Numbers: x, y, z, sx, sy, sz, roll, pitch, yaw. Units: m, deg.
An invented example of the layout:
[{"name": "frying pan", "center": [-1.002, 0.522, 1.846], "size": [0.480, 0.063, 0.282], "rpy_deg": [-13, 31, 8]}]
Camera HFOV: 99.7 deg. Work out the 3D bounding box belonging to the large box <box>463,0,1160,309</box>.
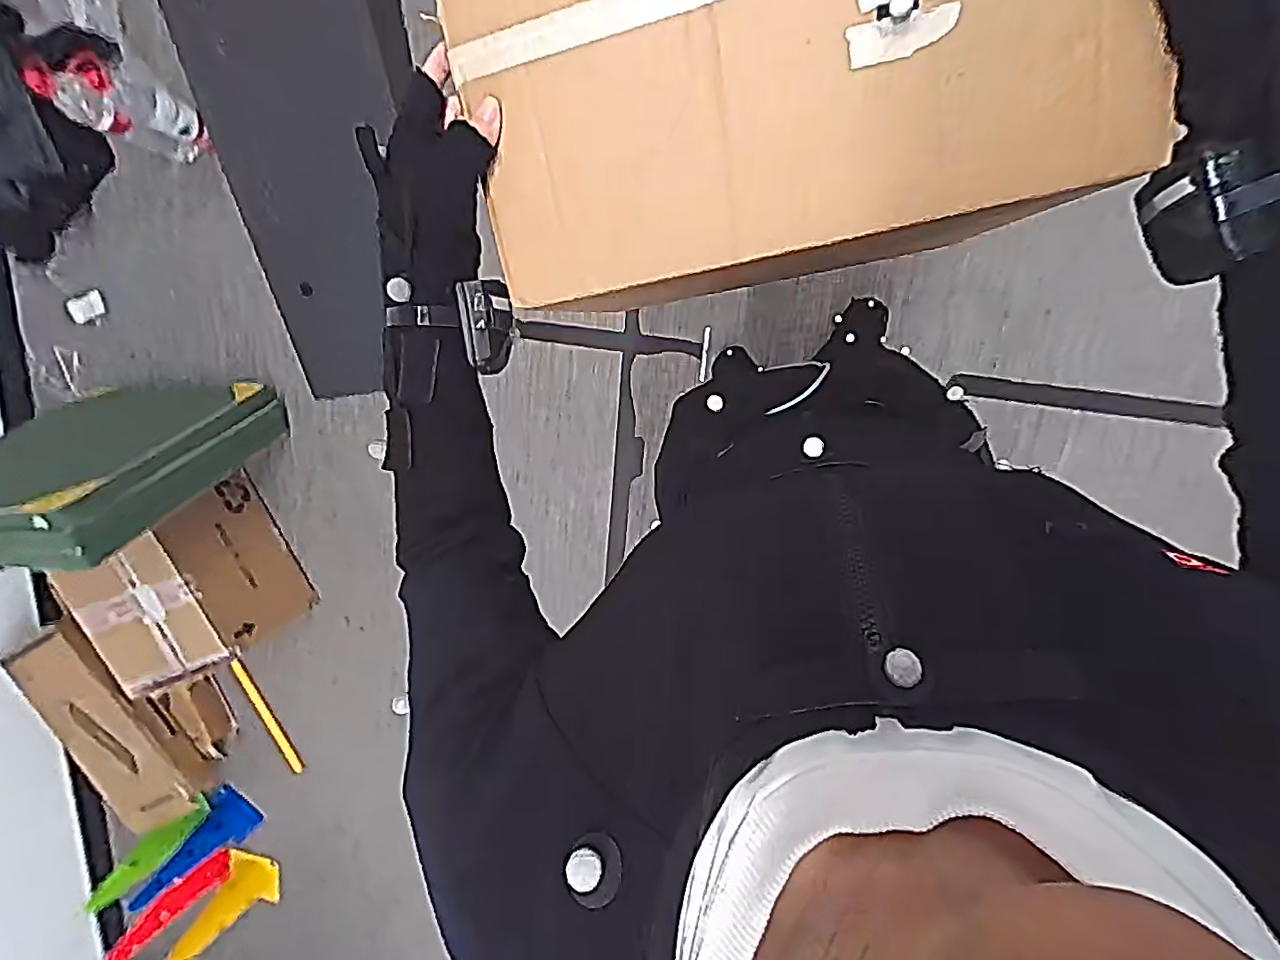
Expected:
[{"name": "large box", "center": [0.105, -0.348, 0.464], "size": [0.408, 0.320, 0.320], "rpy_deg": [-8, 105, 12]}]
